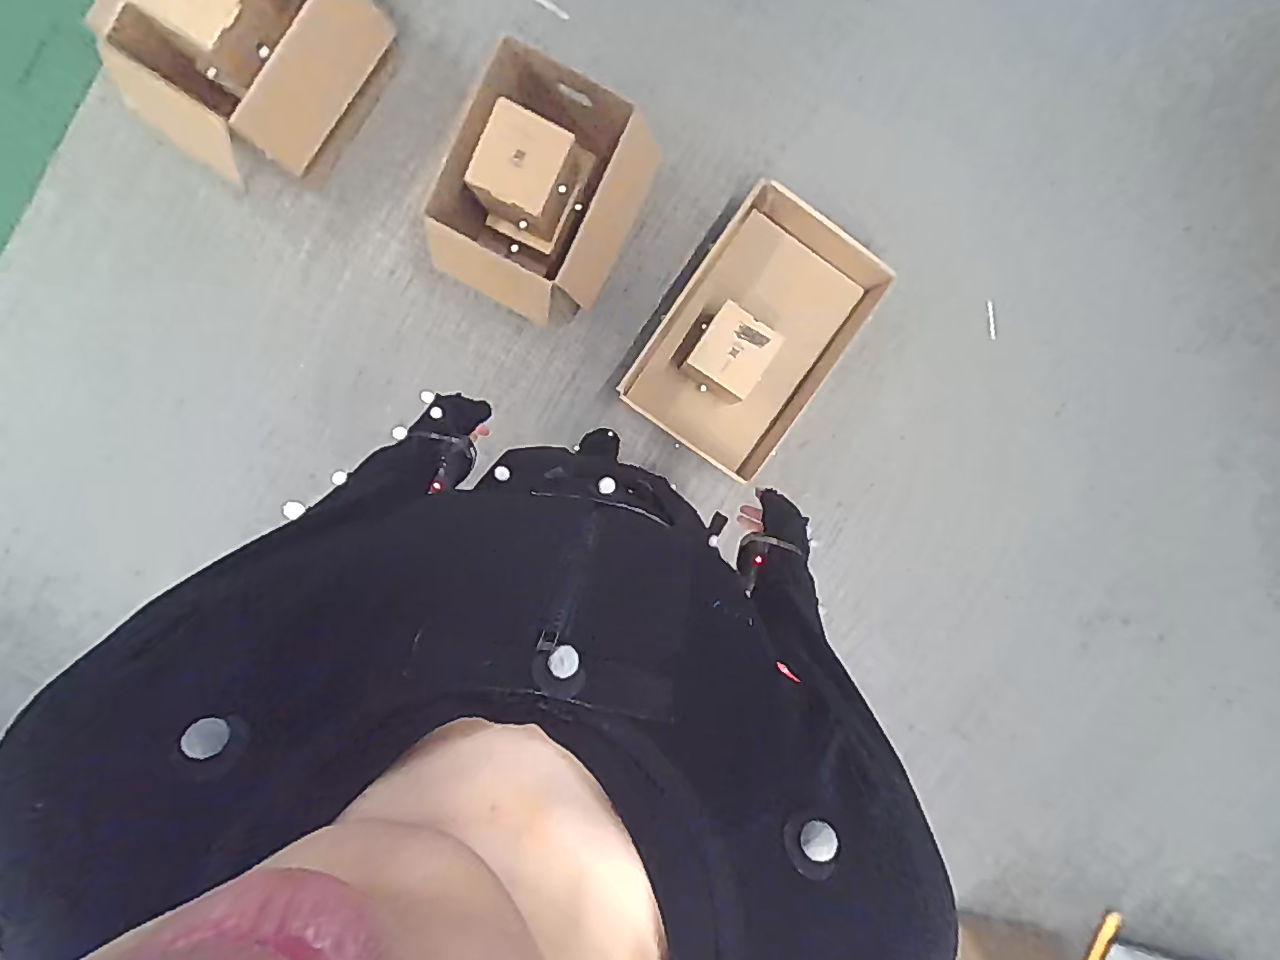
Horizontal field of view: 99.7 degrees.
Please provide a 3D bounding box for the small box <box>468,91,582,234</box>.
[{"bbox_3d":[-0.233,-0.657,1.145,0.168,0.176,0.179,26,95,-4],"label":"small box"}]

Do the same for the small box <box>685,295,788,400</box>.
[{"bbox_3d":[0.223,-0.313,1.318,0.168,0.176,0.179,34,93,-4],"label":"small box"}]
